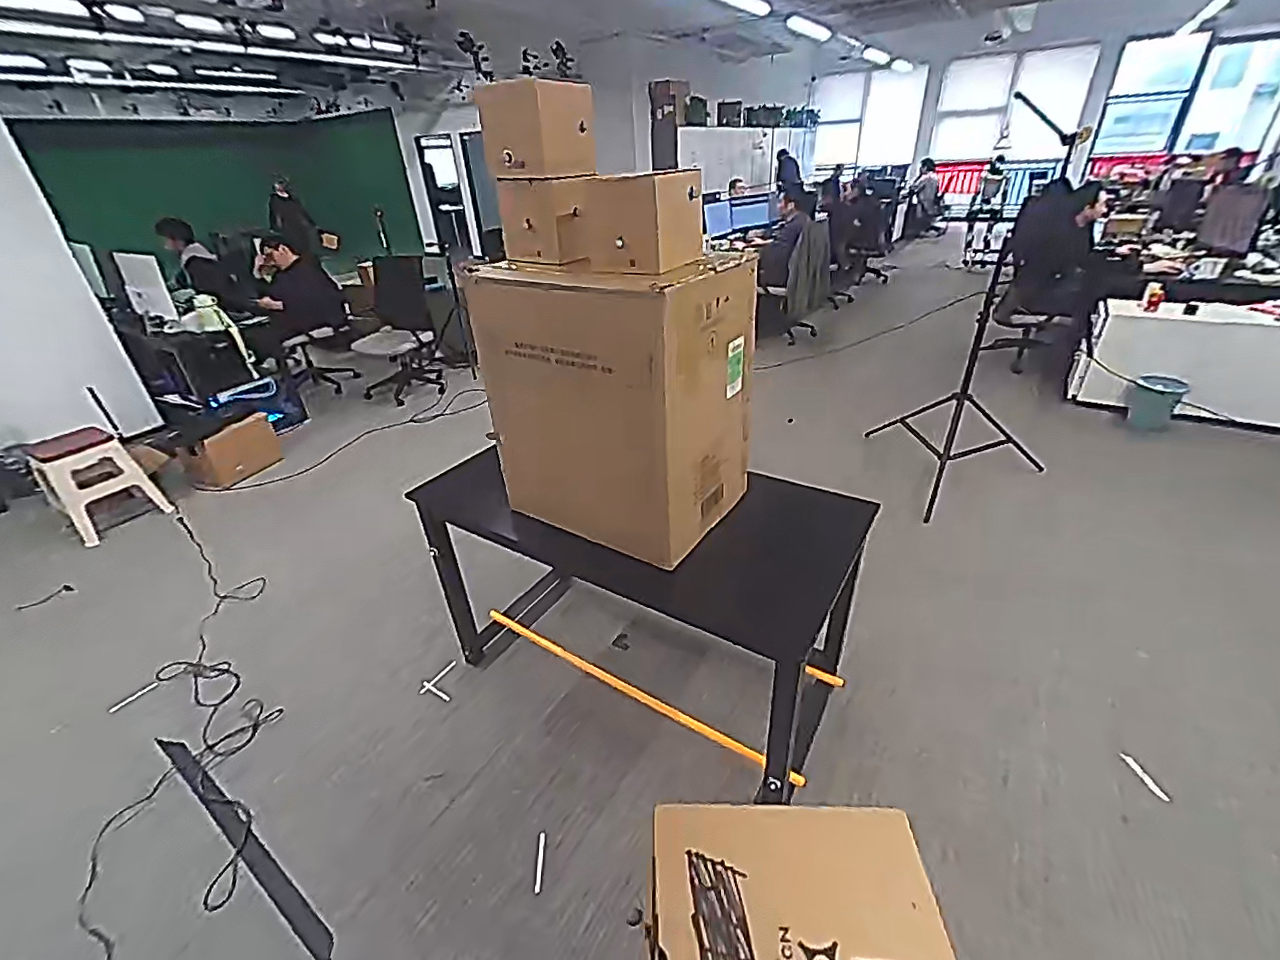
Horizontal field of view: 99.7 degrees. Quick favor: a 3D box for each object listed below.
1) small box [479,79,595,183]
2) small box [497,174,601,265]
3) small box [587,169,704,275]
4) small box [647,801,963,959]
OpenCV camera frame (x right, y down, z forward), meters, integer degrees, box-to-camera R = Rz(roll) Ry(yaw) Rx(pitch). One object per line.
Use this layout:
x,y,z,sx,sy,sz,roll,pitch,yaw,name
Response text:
-0.208,-0.729,1.140,0.168,0.176,0.179,15,36,28,small box
-0.193,-0.595,1.233,0.168,0.176,0.179,17,37,28,small box
0.016,-0.514,1.074,0.168,0.176,0.179,15,36,31,small box
0.093,0.332,0.350,0.179,0.176,0.168,2,39,-1,small box
